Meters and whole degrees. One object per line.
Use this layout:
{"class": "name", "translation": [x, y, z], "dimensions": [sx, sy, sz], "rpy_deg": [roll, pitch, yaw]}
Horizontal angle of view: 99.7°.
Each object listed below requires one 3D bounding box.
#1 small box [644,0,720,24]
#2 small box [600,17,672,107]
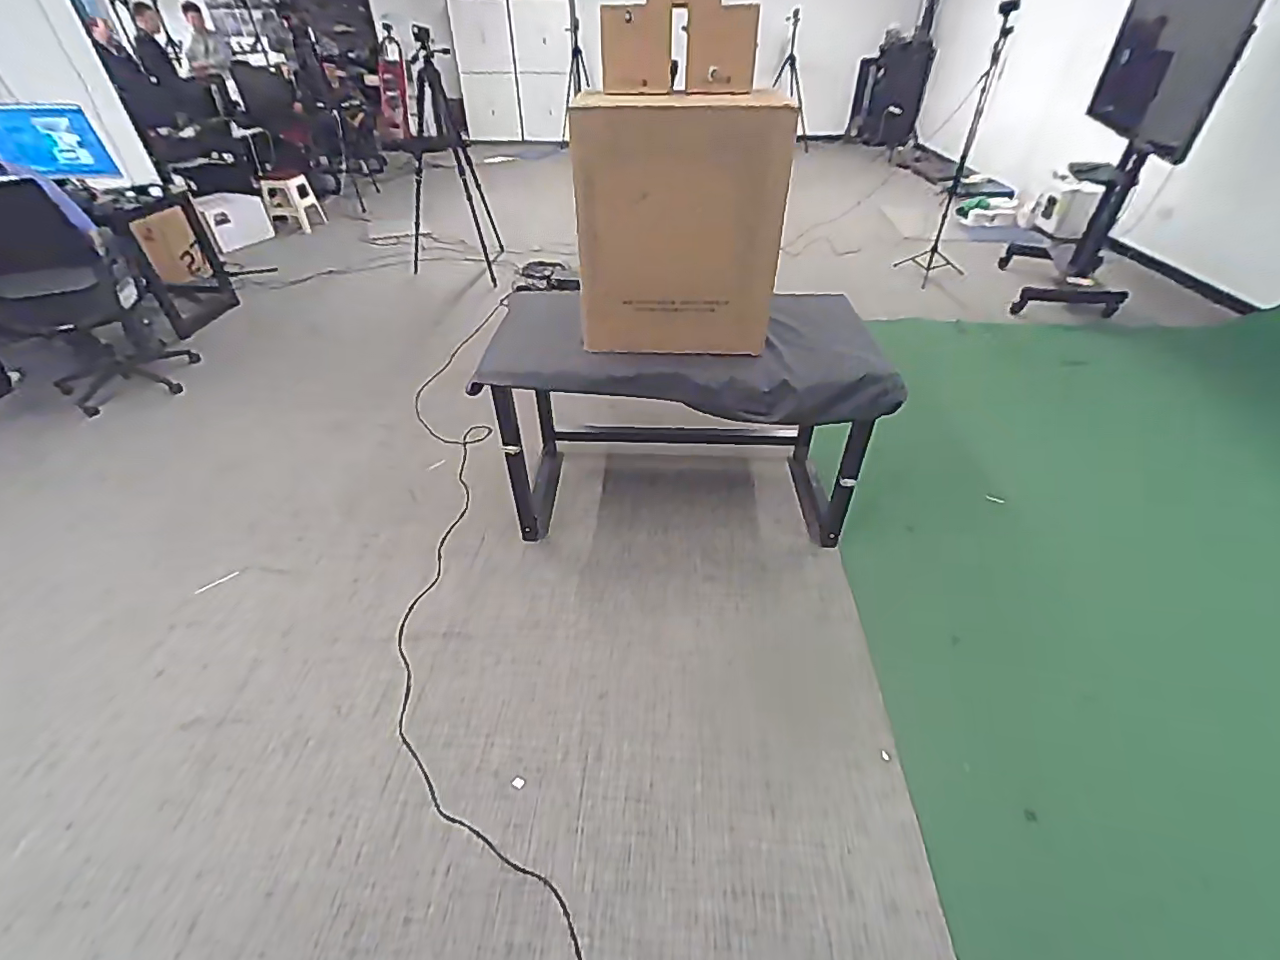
{"class": "small box", "translation": [0.100, -1.180, 1.265], "dimensions": [0.179, 0.176, 0.168], "rpy_deg": [1, 37, 2]}
{"class": "small box", "translation": [-0.006, -1.045, 1.358], "dimensions": [0.168, 0.176, 0.179], "rpy_deg": [1, 37, 4]}
